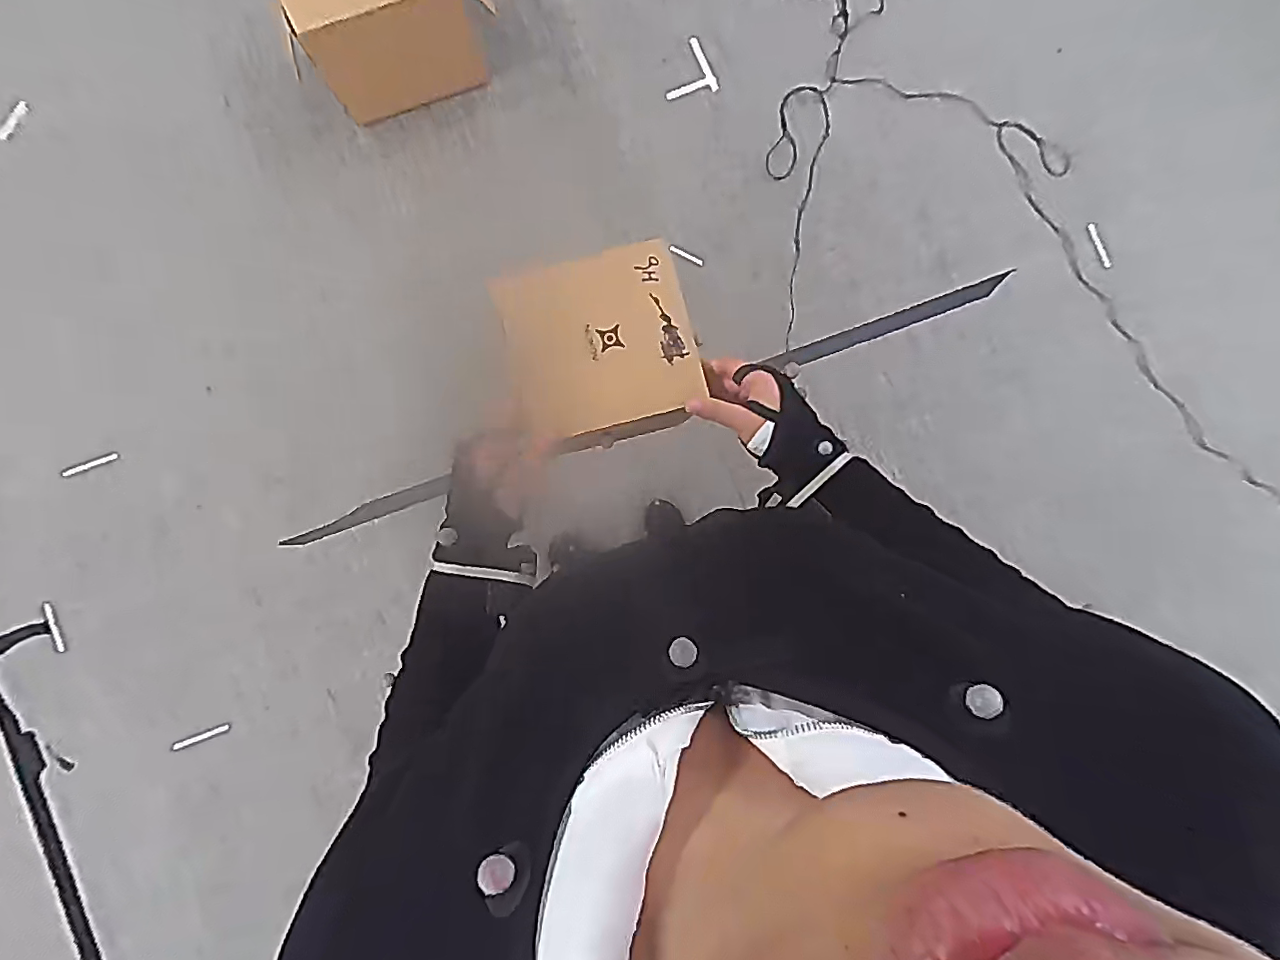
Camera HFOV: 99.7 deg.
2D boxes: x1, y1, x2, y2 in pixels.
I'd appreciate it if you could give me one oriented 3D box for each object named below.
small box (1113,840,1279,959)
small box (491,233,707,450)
[{"bbox_3d":[0.777,0.609,0.697,0.168,0.176,0.179,-24,88,-1],"label":"small box"},{"bbox_3d":[-0.043,-0.135,0.591,0.179,0.176,0.168,-15,90,-5],"label":"small box"}]
